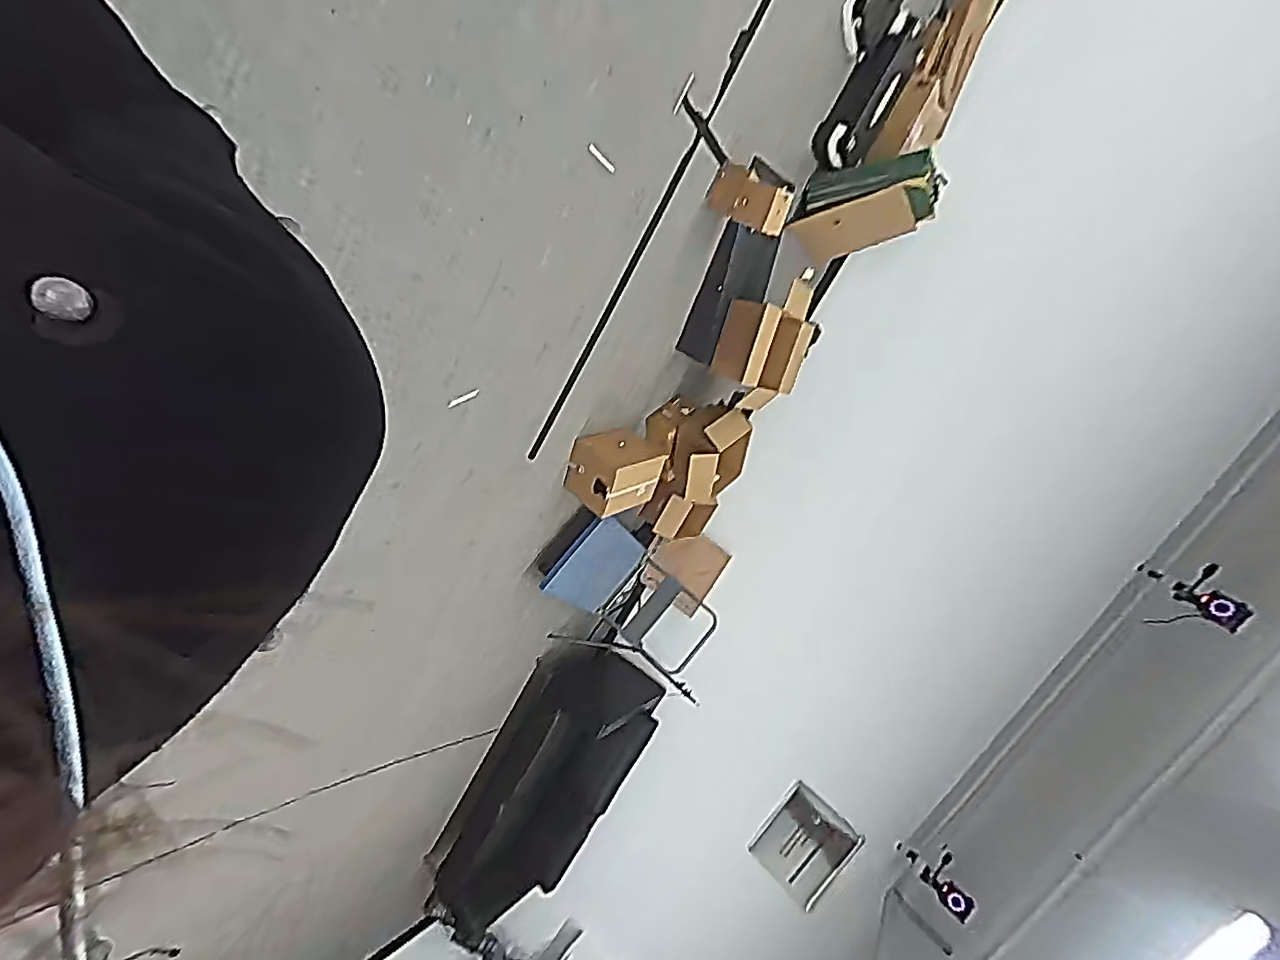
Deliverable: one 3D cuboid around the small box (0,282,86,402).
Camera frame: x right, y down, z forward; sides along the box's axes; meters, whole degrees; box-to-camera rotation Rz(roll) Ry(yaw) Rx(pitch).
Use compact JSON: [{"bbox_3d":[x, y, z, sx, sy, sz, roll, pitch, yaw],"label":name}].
[{"bbox_3d":[-1.249,-0.283,1.064,0.179,0.176,0.168,-59,153,12],"label":"small box"}]
